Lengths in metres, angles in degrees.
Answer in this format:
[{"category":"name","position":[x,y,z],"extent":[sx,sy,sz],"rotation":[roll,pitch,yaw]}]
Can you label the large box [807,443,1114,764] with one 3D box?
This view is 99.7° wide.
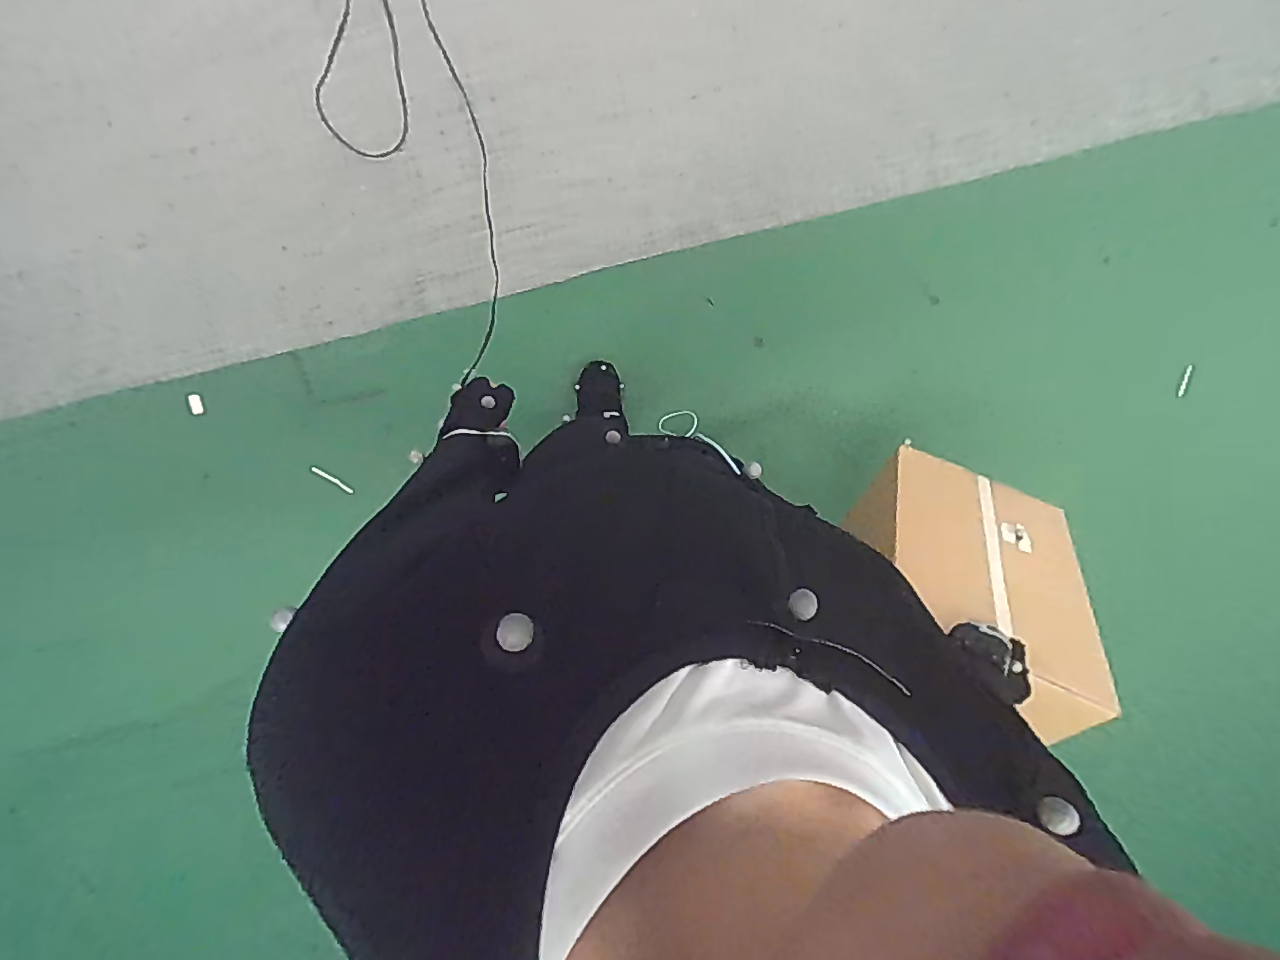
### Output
[{"category":"large box","position":[0.523,0.211,0.971],"extent":[0.320,0.408,0.320],"rotation":[24,135,5]}]
